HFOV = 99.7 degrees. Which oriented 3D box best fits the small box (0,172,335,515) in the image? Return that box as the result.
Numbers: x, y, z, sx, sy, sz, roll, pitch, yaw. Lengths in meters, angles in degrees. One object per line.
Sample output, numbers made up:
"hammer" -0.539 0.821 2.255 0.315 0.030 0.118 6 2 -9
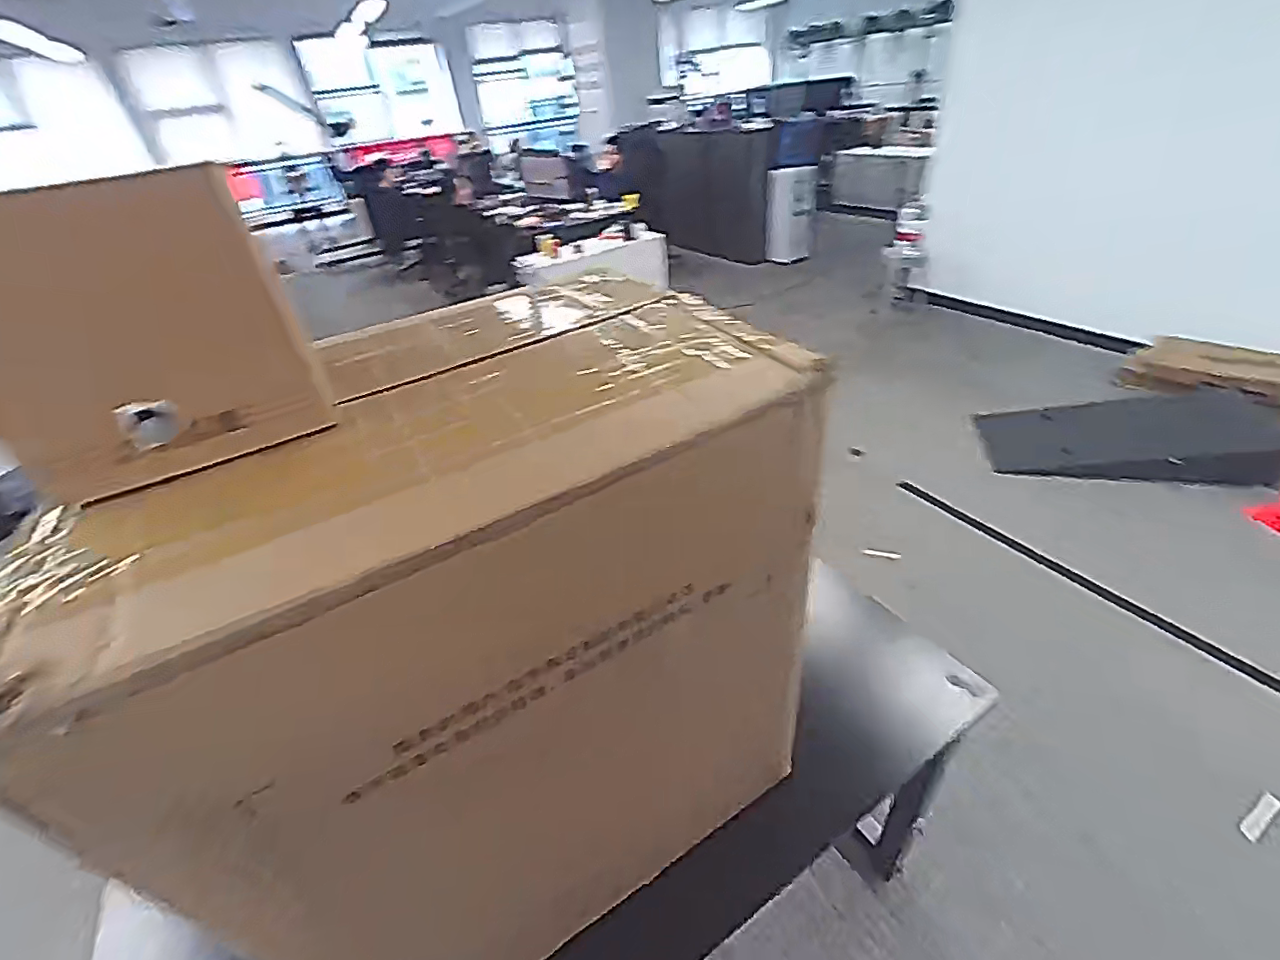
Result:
"small box" -0.342 -0.104 0.376 0.168 0.176 0.179 -27 39 -23
